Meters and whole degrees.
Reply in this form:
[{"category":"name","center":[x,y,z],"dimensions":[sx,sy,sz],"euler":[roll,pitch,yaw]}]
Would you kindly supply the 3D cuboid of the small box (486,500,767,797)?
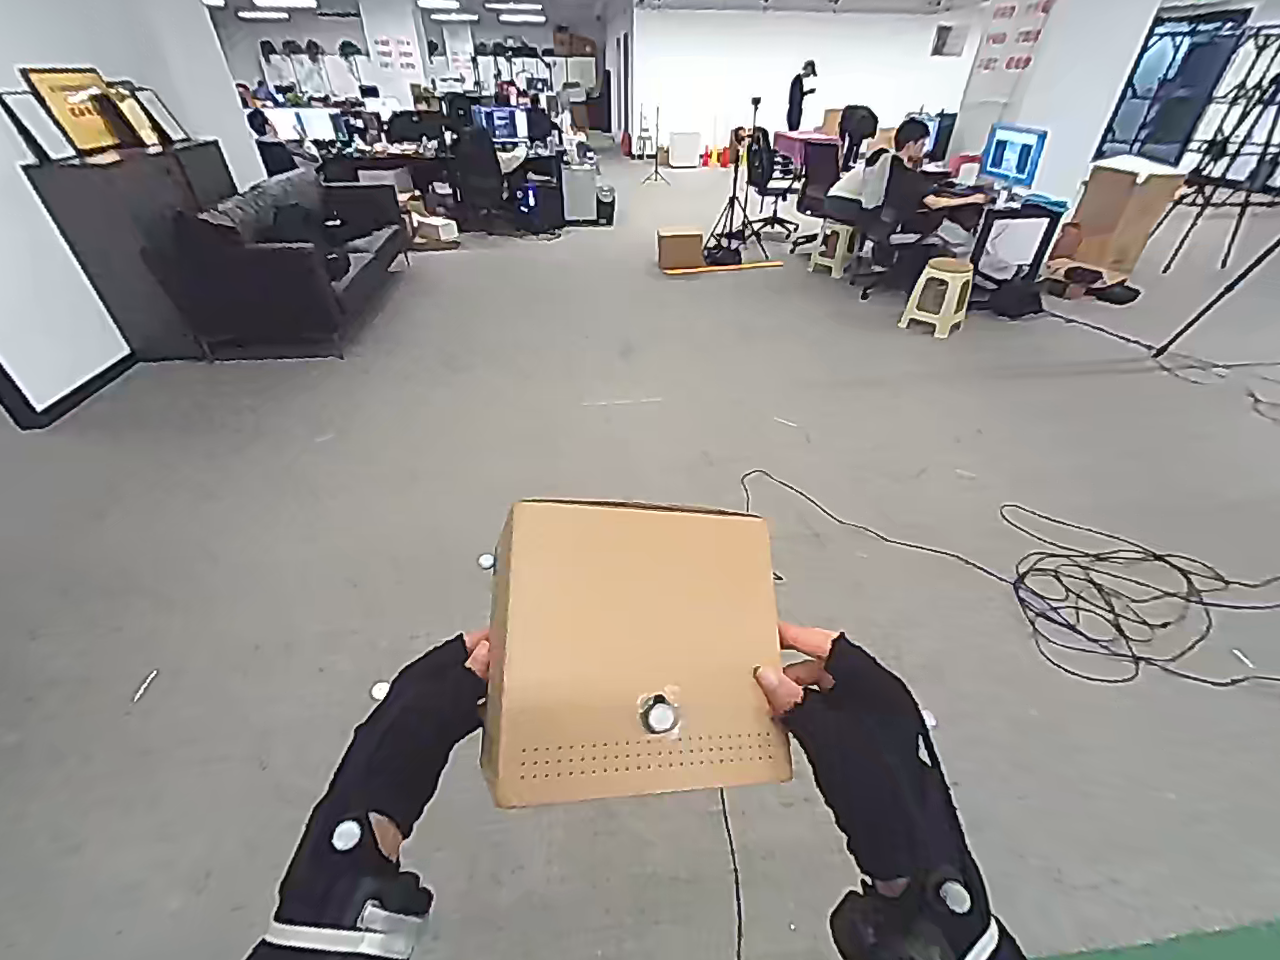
[{"category":"small box","center":[-0.018,0.121,0.405],"dimensions":[0.179,0.168,0.176],"euler":[4,71,-16]}]
